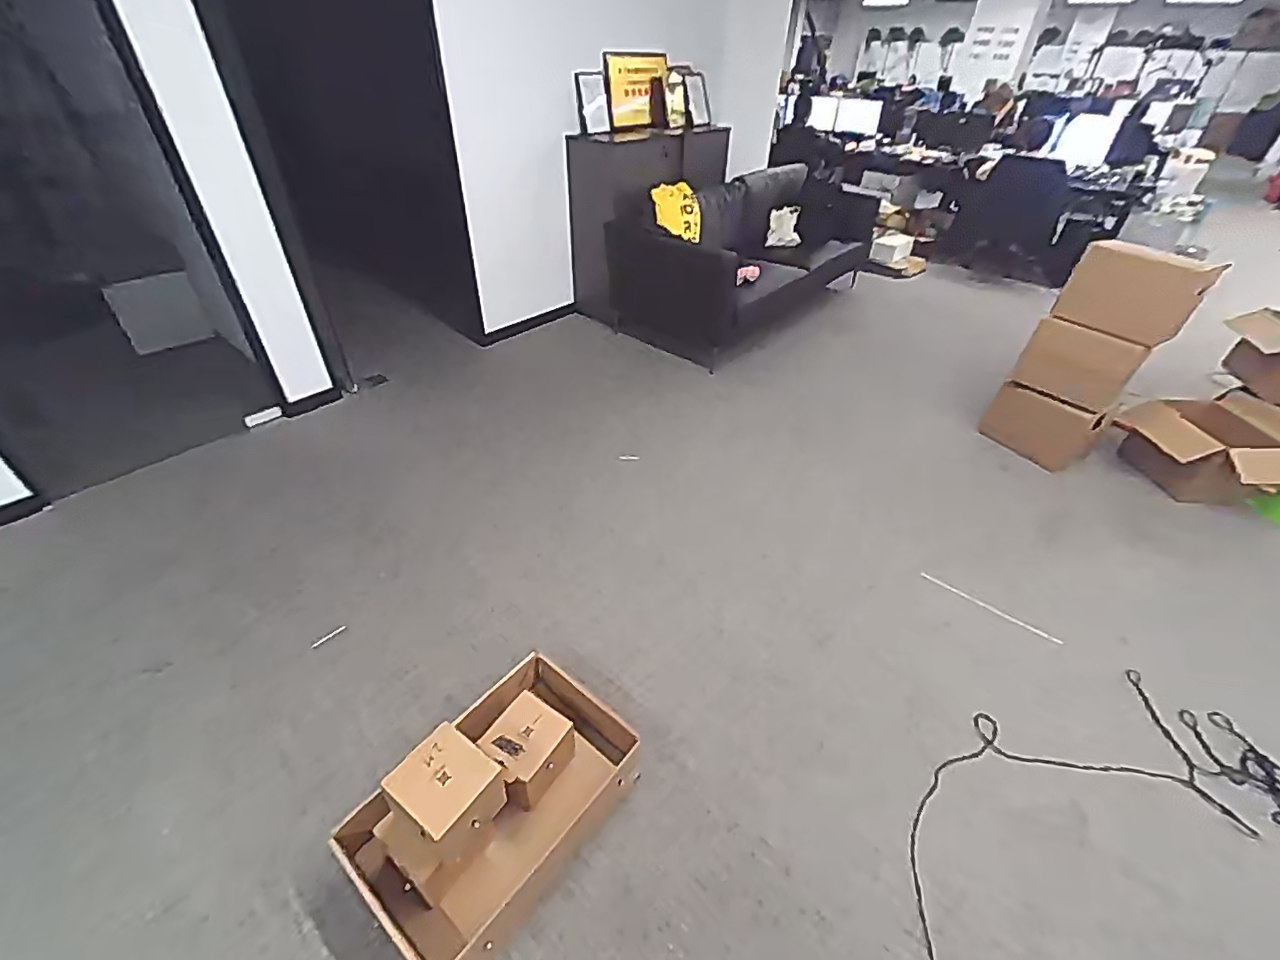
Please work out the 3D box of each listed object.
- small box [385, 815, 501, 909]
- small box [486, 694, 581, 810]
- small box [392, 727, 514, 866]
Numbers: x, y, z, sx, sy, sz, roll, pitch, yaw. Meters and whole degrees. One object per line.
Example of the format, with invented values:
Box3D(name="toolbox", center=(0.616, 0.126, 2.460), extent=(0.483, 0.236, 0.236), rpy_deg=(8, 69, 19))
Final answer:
Box3D(name="small box", center=(-0.437, 0.820, 1.229), extent=(0.168, 0.176, 0.179), rpy_deg=(27, 43, 26))
Box3D(name="small box", center=(-0.262, 0.699, 1.385), extent=(0.168, 0.176, 0.179), rpy_deg=(23, 44, 24))
Box3D(name="small box", center=(-0.387, 0.677, 1.149), extent=(0.179, 0.176, 0.168), rpy_deg=(25, 42, 25))
